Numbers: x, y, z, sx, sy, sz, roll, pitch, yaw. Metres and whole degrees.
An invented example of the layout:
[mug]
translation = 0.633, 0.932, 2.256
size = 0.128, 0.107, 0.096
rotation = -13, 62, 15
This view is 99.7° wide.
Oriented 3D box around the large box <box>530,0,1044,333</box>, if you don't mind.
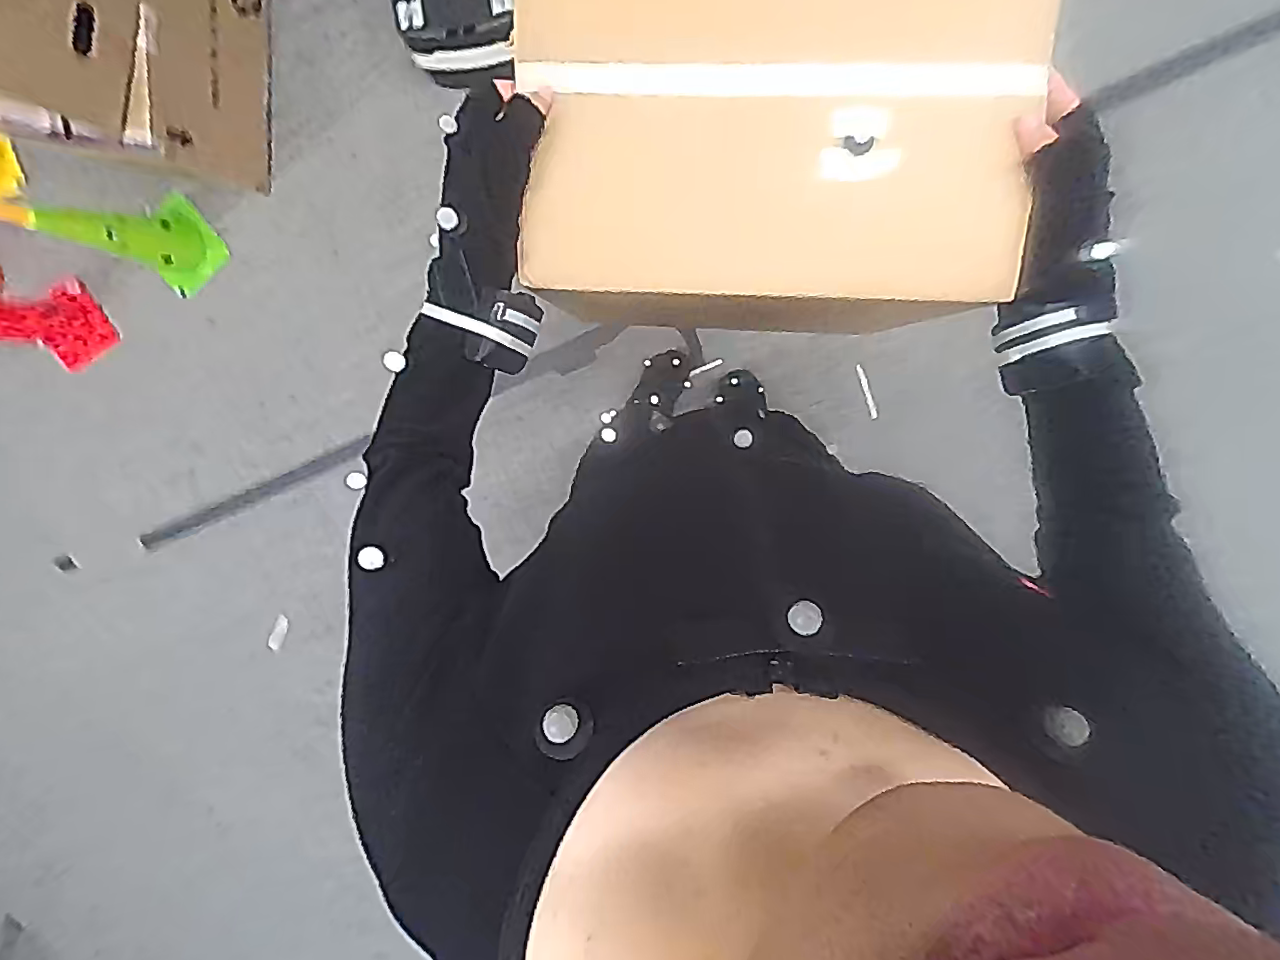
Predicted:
[large box]
translation = 0.113, -0.336, 0.579
size = 0.408, 0.320, 0.320
rotation = 3, 100, 2
